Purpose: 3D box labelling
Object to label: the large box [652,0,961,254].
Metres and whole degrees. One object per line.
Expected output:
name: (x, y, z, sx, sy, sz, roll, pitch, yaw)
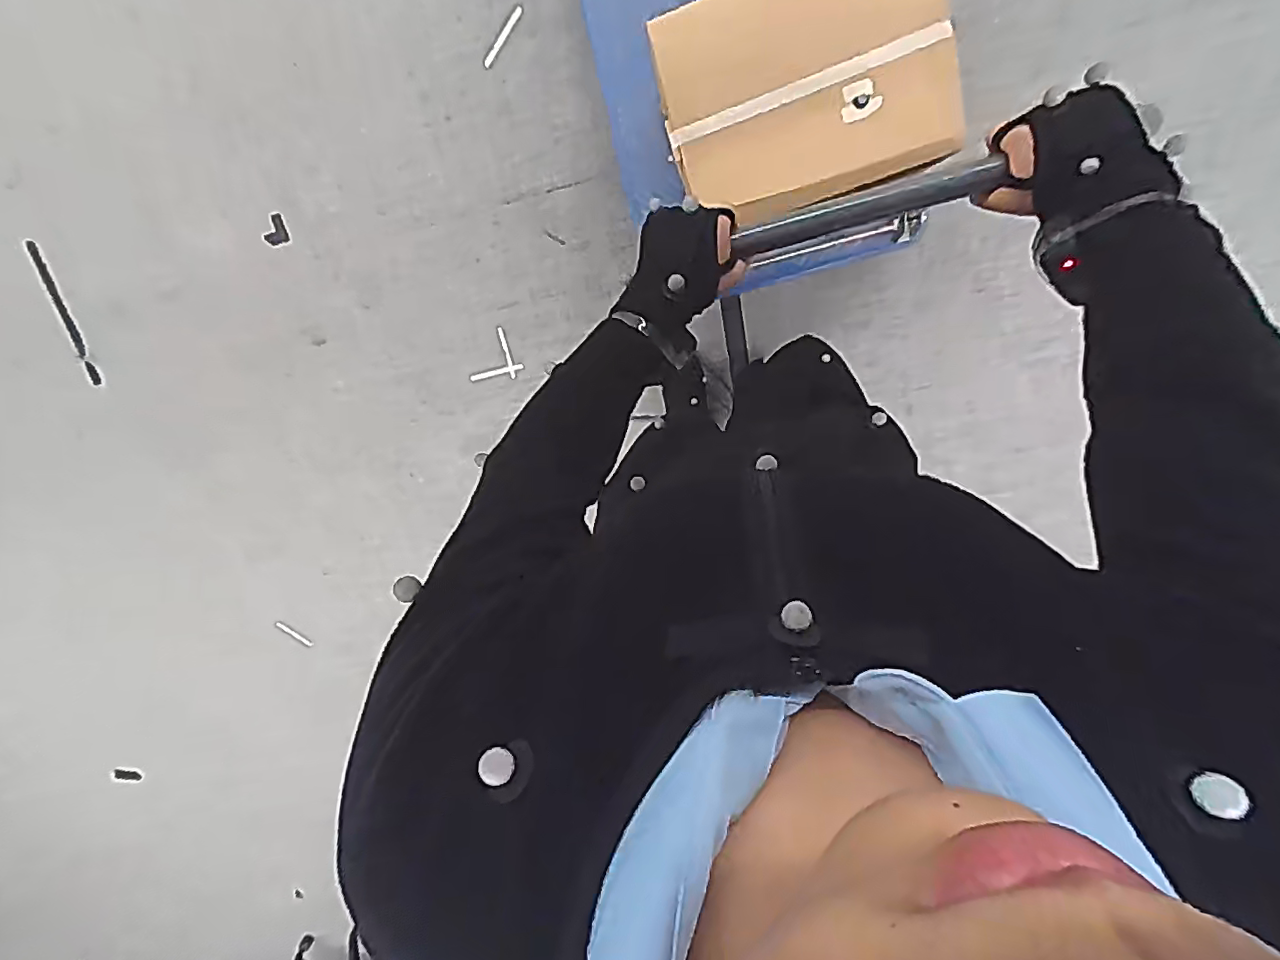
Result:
large box: (0.262, -0.633, 0.950, 0.408, 0.320, 0.320, -16, 107, 10)
